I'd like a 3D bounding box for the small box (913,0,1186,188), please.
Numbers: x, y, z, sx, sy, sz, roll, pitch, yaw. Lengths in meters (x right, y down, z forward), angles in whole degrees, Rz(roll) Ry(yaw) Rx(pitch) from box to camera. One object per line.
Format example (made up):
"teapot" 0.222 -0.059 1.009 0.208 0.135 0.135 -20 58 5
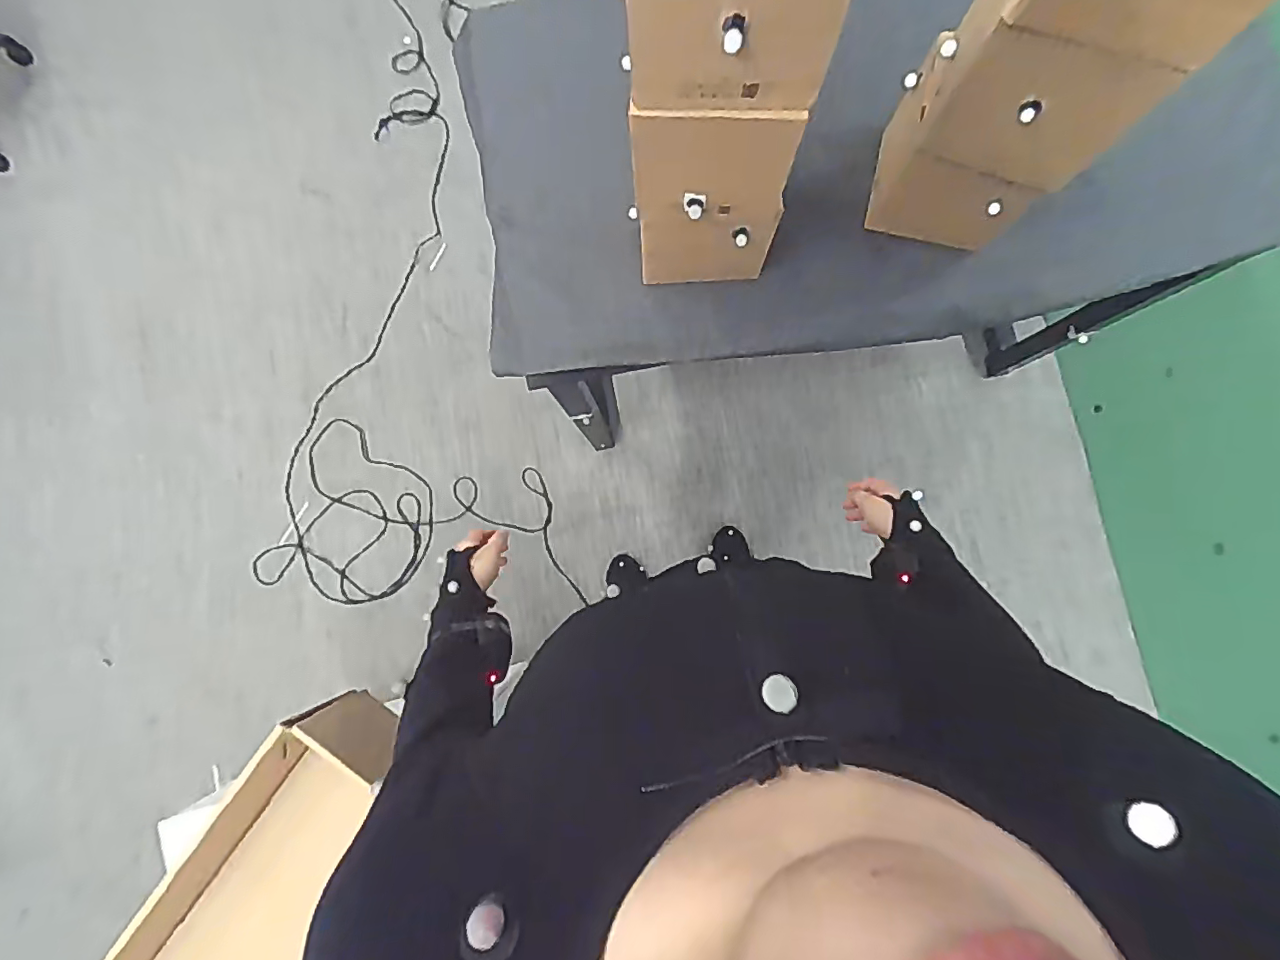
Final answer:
"small box" 0.430 -0.447 0.572 0.179 0.176 0.168 21 84 5

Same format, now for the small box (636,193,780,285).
"small box" 0.084 -0.386 0.745 0.179 0.176 0.168 -3 82 2

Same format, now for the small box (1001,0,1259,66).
"small box" 0.421 -0.467 0.410 0.179 0.176 0.168 18 83 4

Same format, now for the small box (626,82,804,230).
"small box" 0.077 -0.401 0.584 0.168 0.176 0.179 3 84 4

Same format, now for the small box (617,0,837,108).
"small box" 0.069 -0.427 0.422 0.168 0.176 0.179 2 84 3
